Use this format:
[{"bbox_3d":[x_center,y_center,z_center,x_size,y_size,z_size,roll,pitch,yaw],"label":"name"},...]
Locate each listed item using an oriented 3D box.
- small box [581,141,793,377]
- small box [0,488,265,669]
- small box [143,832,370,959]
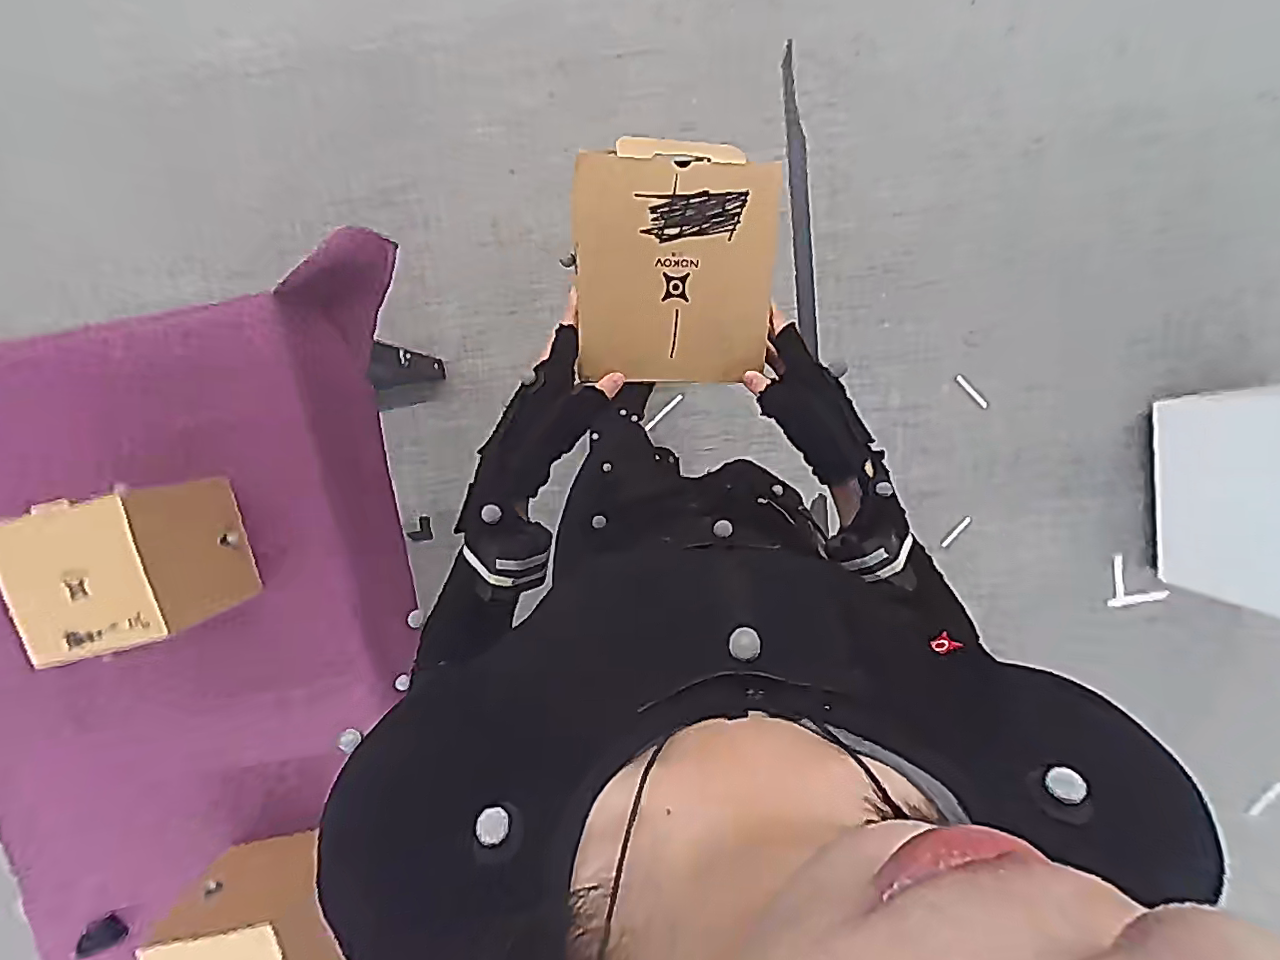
[{"bbox_3d":[0.029,-0.197,0.518,0.168,0.176,0.179,-1,108,-7],"label":"small box"},{"bbox_3d":[-0.635,0.112,0.696,0.168,0.176,0.179,-13,96,1],"label":"small box"},{"bbox_3d":[-0.516,0.638,0.754,0.179,0.176,0.168,-12,97,0],"label":"small box"}]
